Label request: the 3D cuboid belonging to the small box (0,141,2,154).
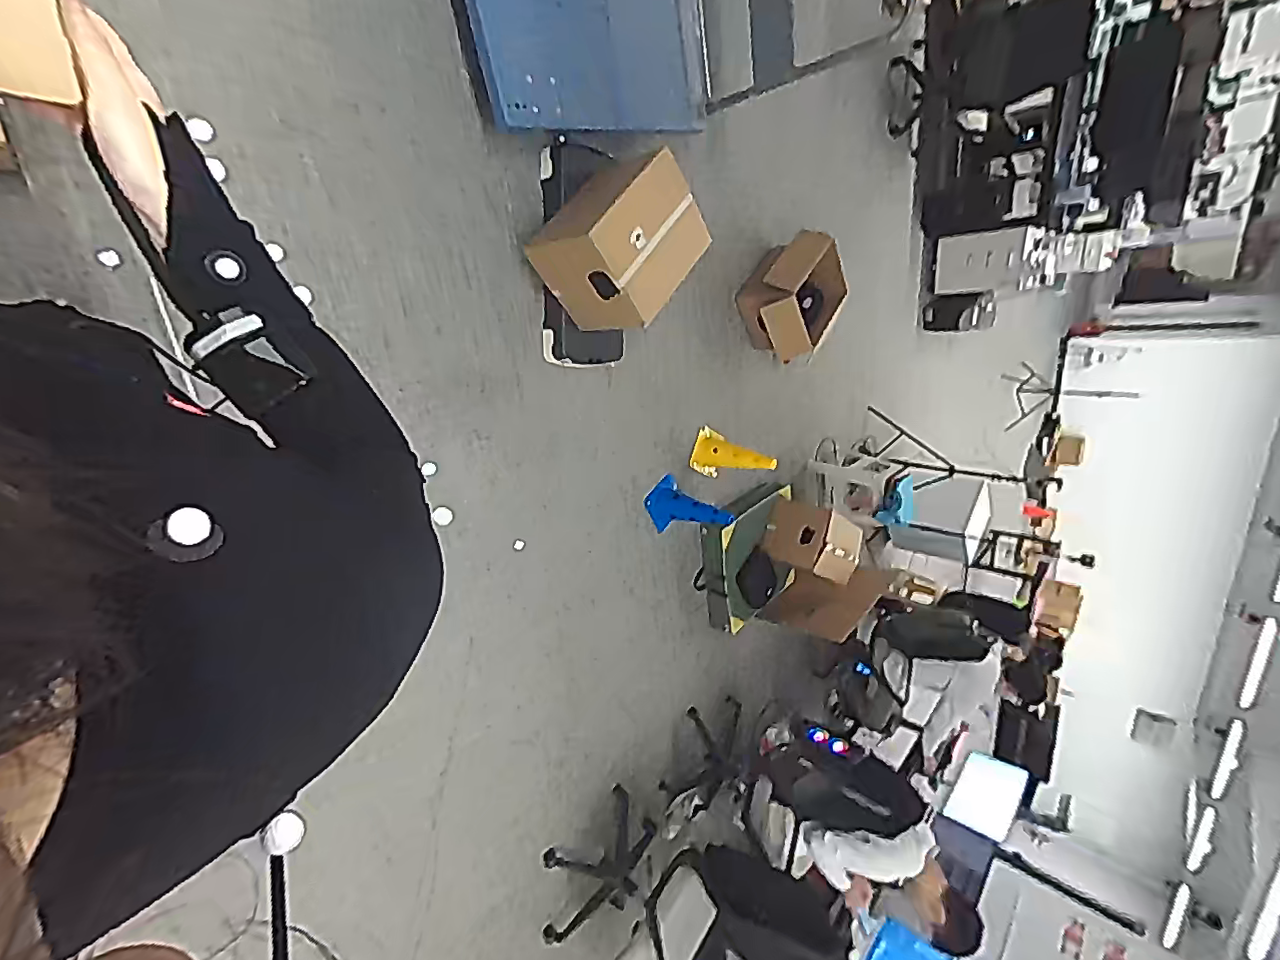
[{"bbox_3d":[-1.120,-0.611,0.815,0.168,0.176,0.179,-21,114,-42],"label":"small box"}]
